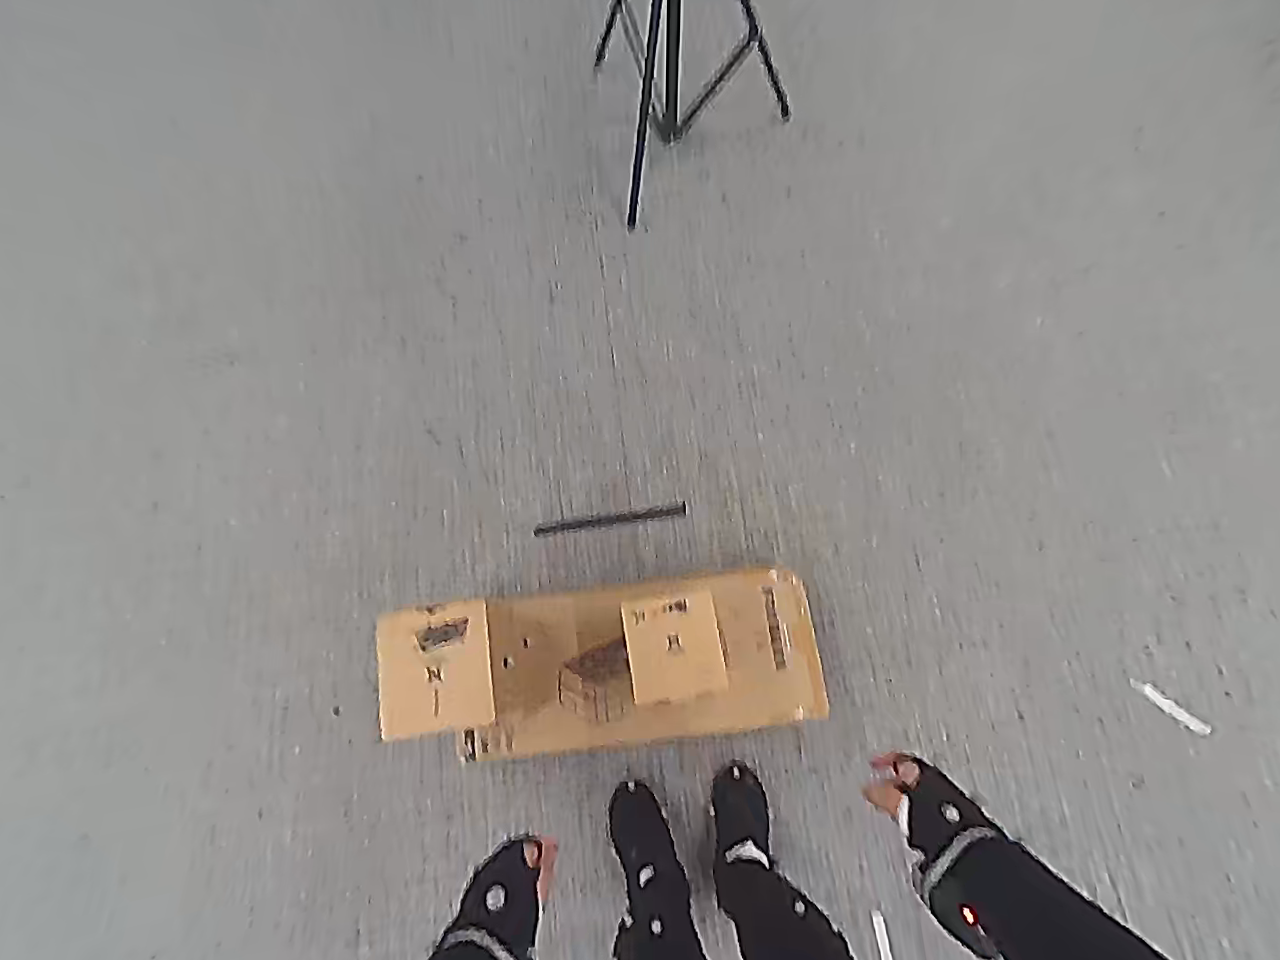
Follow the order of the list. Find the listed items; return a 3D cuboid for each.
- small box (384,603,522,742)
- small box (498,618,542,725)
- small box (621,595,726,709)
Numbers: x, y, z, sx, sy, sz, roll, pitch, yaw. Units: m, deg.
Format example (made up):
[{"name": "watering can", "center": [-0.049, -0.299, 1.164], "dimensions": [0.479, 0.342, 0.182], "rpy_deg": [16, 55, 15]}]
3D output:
[{"name": "small box", "center": [-0.293, 0.303, 0.870], "dimensions": [0.168, 0.176, 0.179], "rpy_deg": [-9, 74, -1]}, {"name": "small box", "center": [-0.285, 0.364, 1.023], "dimensions": [0.168, 0.176, 0.179], "rpy_deg": [-7, 74, -1]}, {"name": "small box", "center": [0.063, 0.320, 1.027], "dimensions": [0.168, 0.176, 0.179], "rpy_deg": [-9, 74, 1]}]
